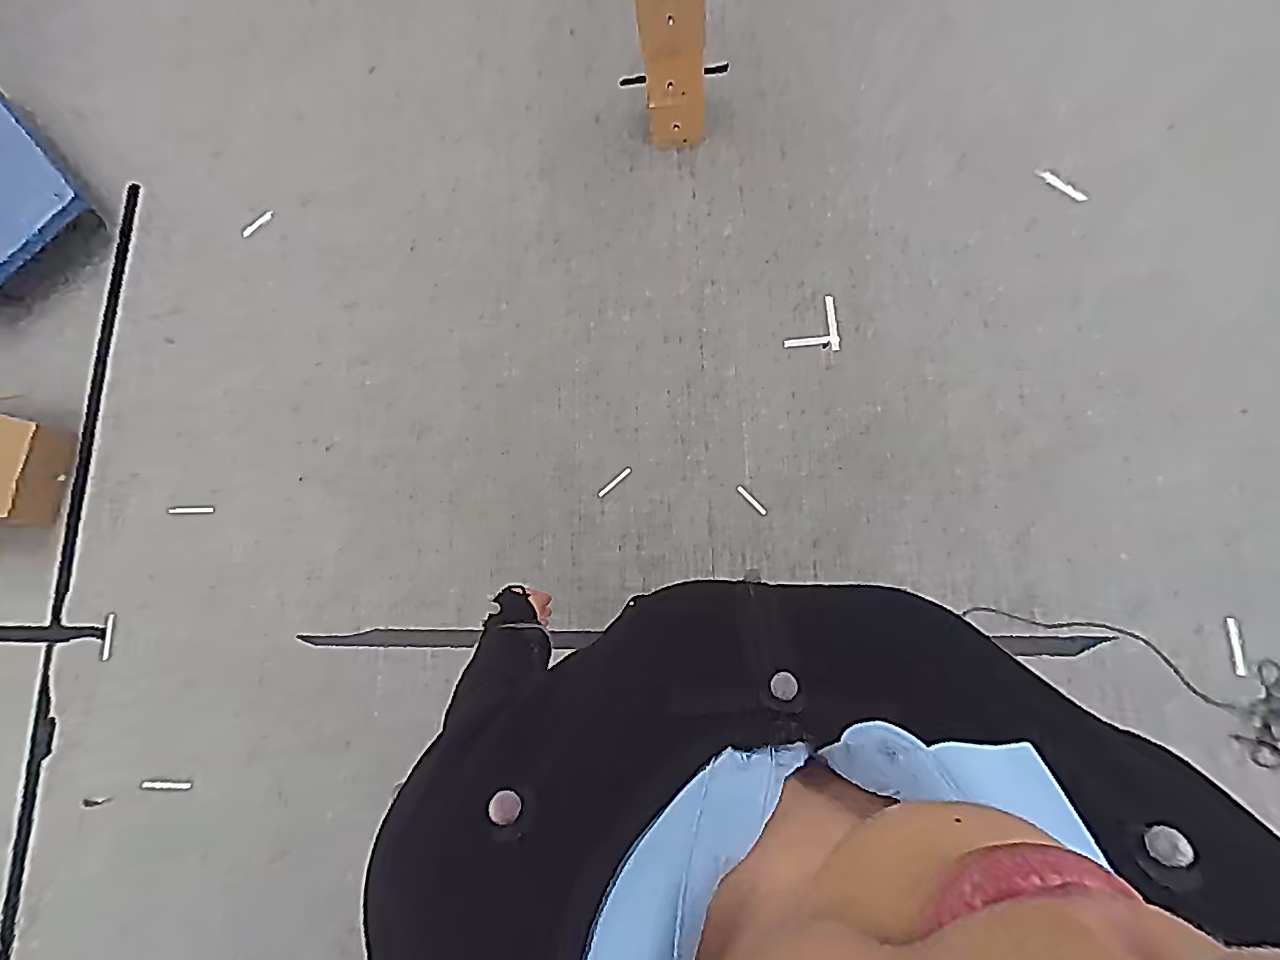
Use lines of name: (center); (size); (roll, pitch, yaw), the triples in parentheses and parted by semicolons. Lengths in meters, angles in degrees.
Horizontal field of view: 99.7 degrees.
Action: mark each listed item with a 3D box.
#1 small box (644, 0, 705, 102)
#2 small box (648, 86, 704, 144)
small box: (0.099, -1.227, 1.539); (0.168, 0.176, 0.179); (-2, 80, 6)
small box: (0.114, -1.188, 1.696); (0.168, 0.176, 0.179); (-4, 79, 6)
